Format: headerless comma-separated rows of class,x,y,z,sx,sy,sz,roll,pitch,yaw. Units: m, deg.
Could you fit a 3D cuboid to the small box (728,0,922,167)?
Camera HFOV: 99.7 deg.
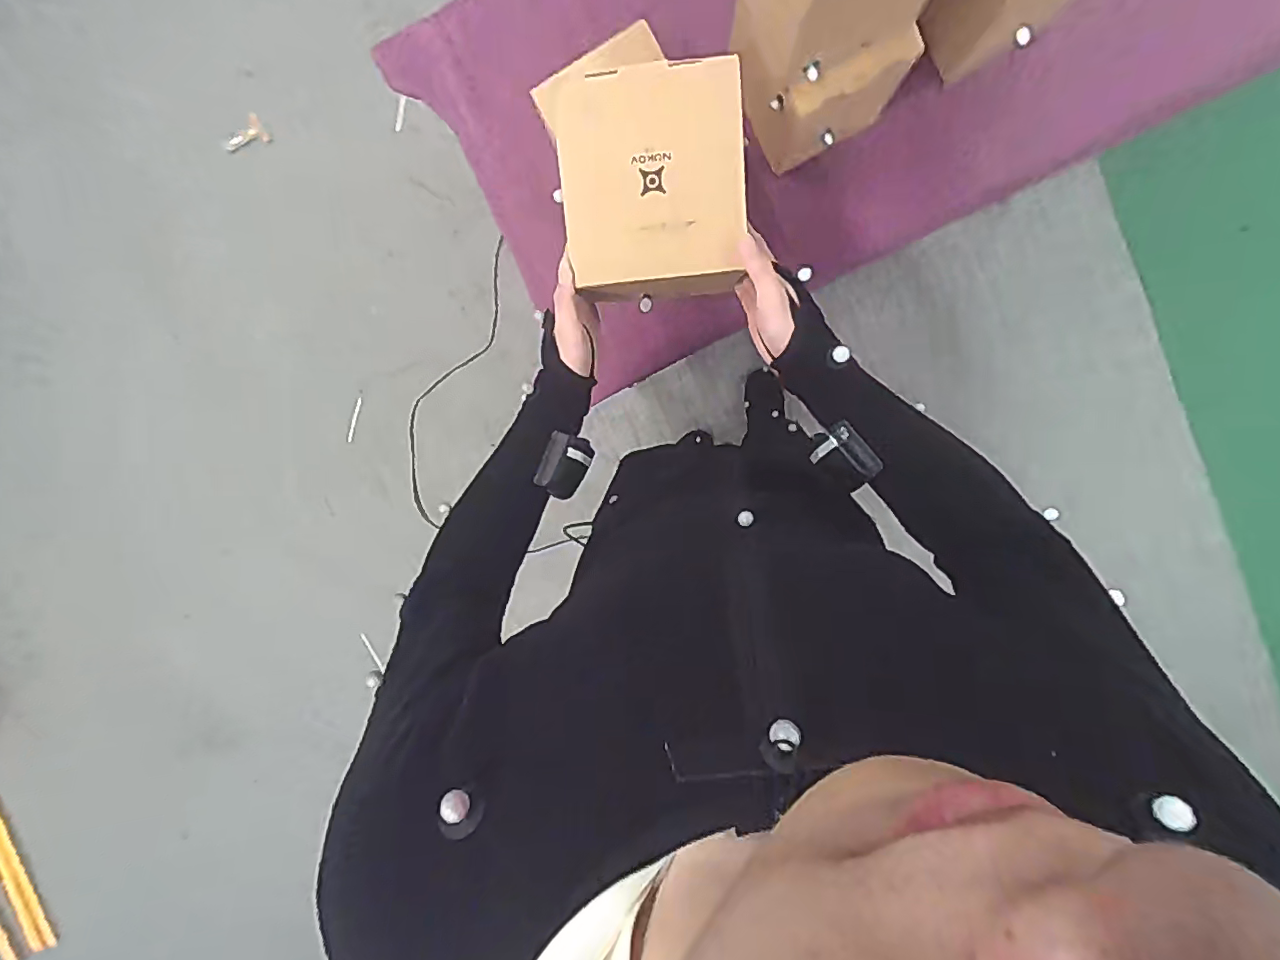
small box,0.229,-0.568,0.723,0.168,0.176,0.179,-28,96,6

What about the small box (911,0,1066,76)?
small box,0.466,-0.684,0.694,0.168,0.176,0.179,-29,95,6

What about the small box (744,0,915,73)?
small box,0.201,-0.572,0.558,0.168,0.176,0.179,-23,95,5

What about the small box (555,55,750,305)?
small box,0.016,-0.283,0.551,0.168,0.176,0.179,-4,102,4
